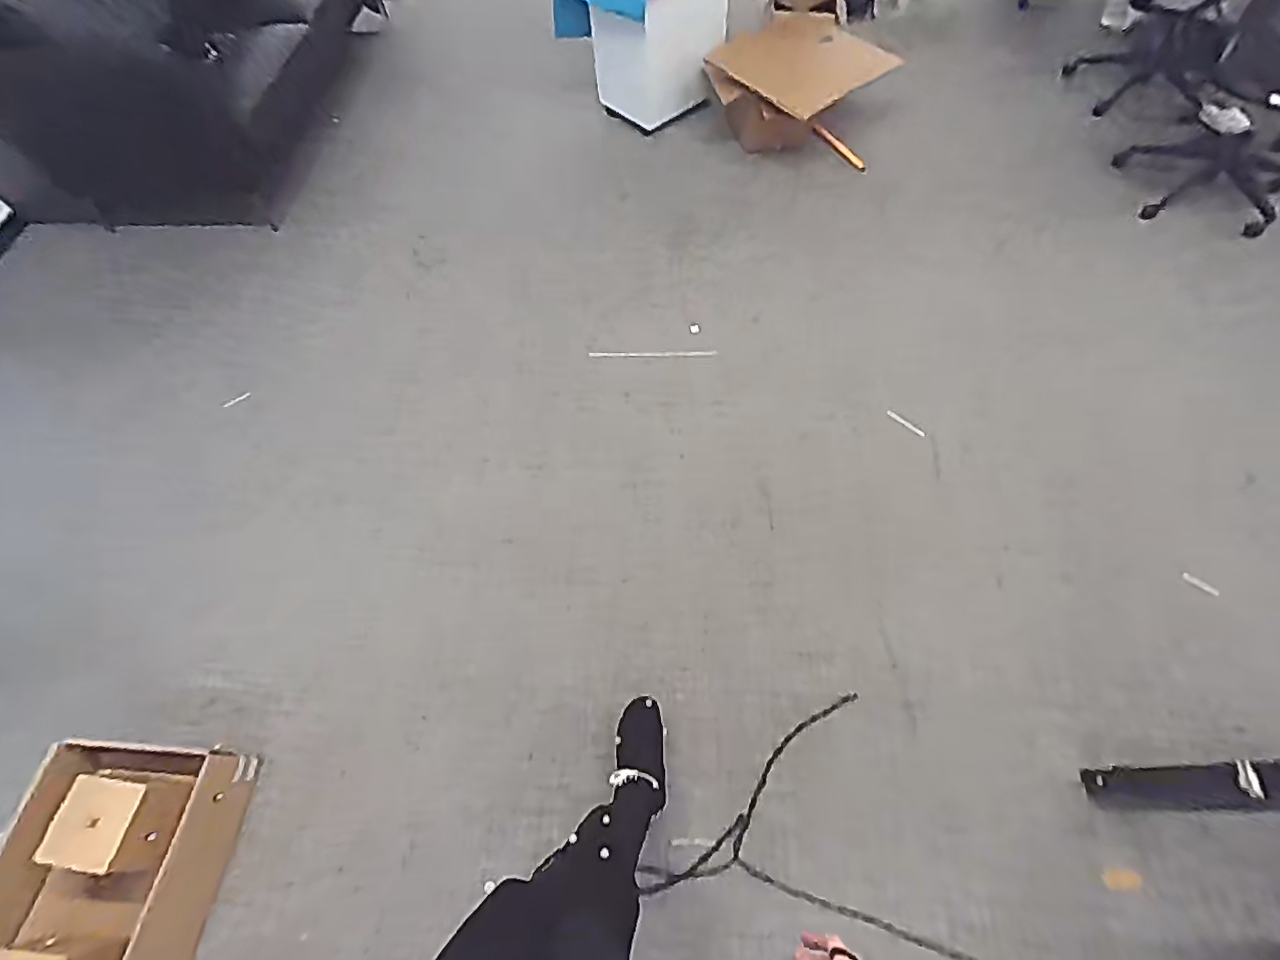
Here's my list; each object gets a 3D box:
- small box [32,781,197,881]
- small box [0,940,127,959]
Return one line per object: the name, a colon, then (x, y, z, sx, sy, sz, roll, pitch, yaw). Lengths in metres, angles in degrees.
small box: (-1.185, 0.794, 1.239, 0.179, 0.176, 0.168, 5, 60, 6)
small box: (-1.213, 1.052, 1.088, 0.179, 0.176, 0.168, 1, 58, 5)
